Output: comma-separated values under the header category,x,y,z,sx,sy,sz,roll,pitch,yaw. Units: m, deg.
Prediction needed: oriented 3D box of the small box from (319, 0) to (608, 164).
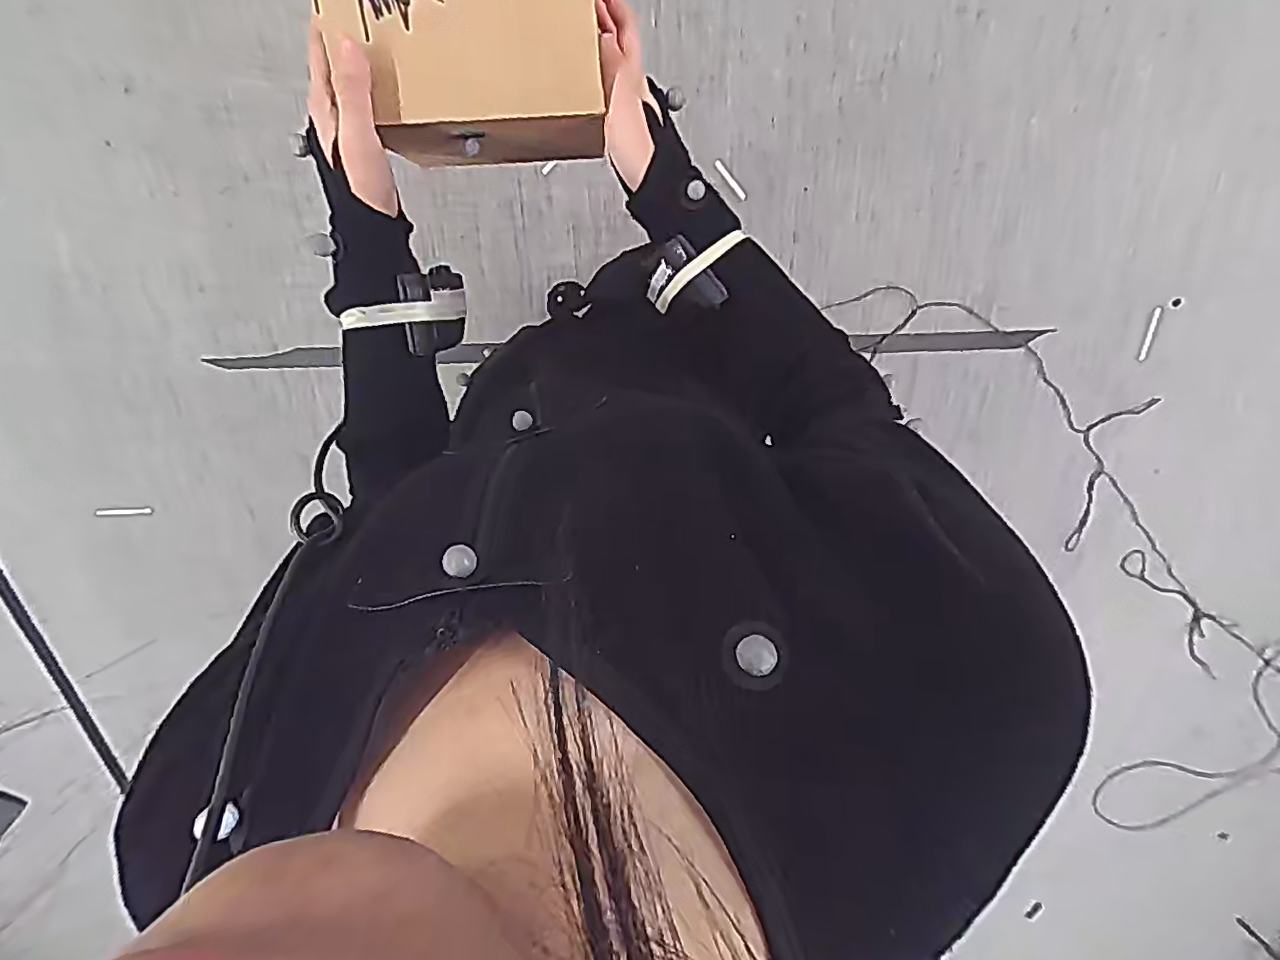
category,x,y,z,sx,sy,sz,roll,pitch,yaw
small box,-0.116,-0.344,0.402,0.179,0.176,0.168,-4,112,-2

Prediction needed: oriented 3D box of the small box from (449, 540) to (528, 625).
category,x,y,z,sx,sy,sz,roll,pitch,yaw
small box,-0.435,0.292,1.572,0.179,0.176,0.168,12,111,-10
